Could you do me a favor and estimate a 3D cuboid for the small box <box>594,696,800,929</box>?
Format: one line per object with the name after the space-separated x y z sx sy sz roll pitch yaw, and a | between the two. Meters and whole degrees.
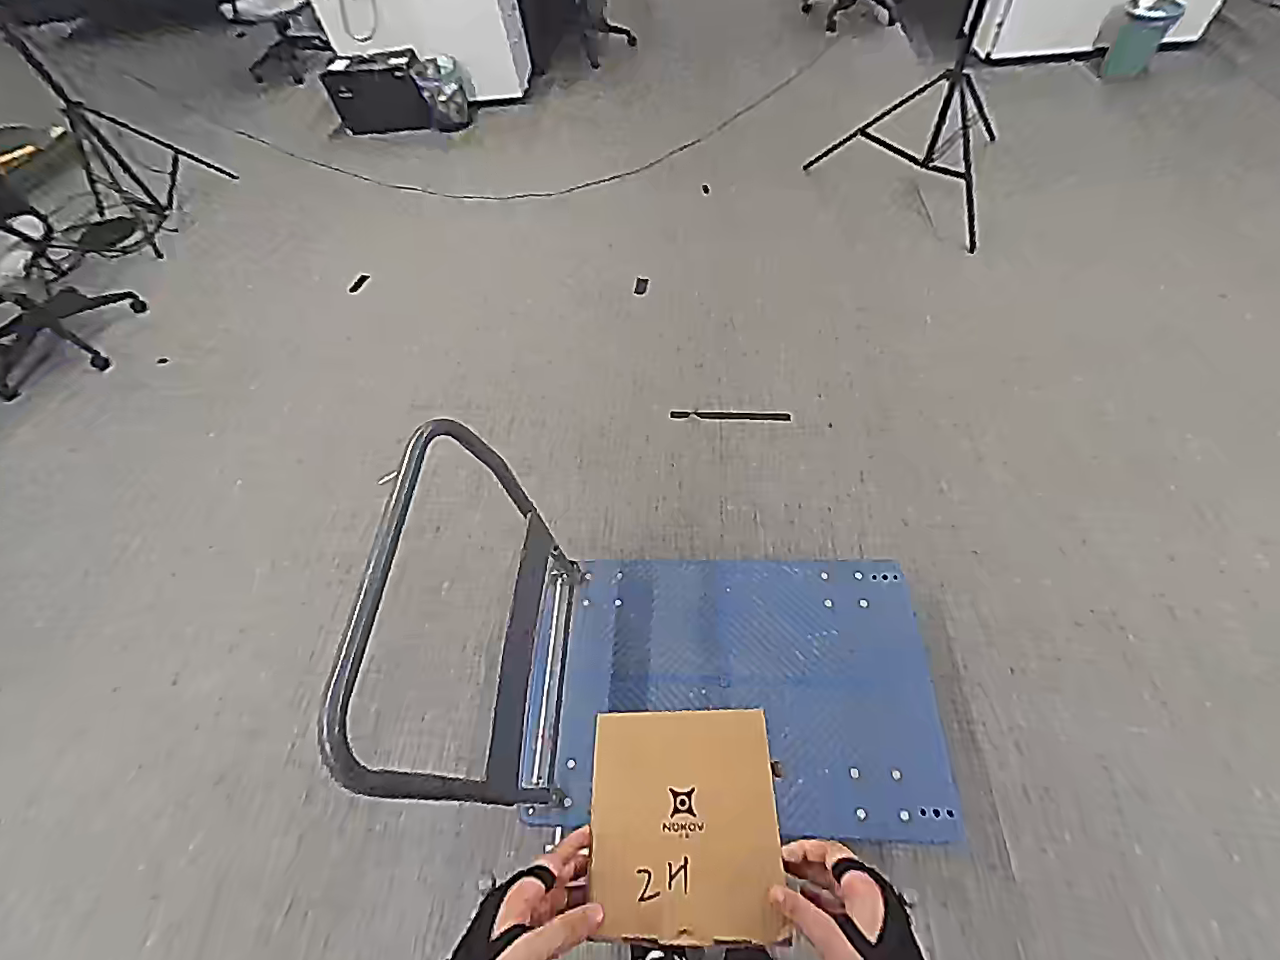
0.057 0.331 0.539 0.168 0.176 0.179 -5 51 8 | small box
